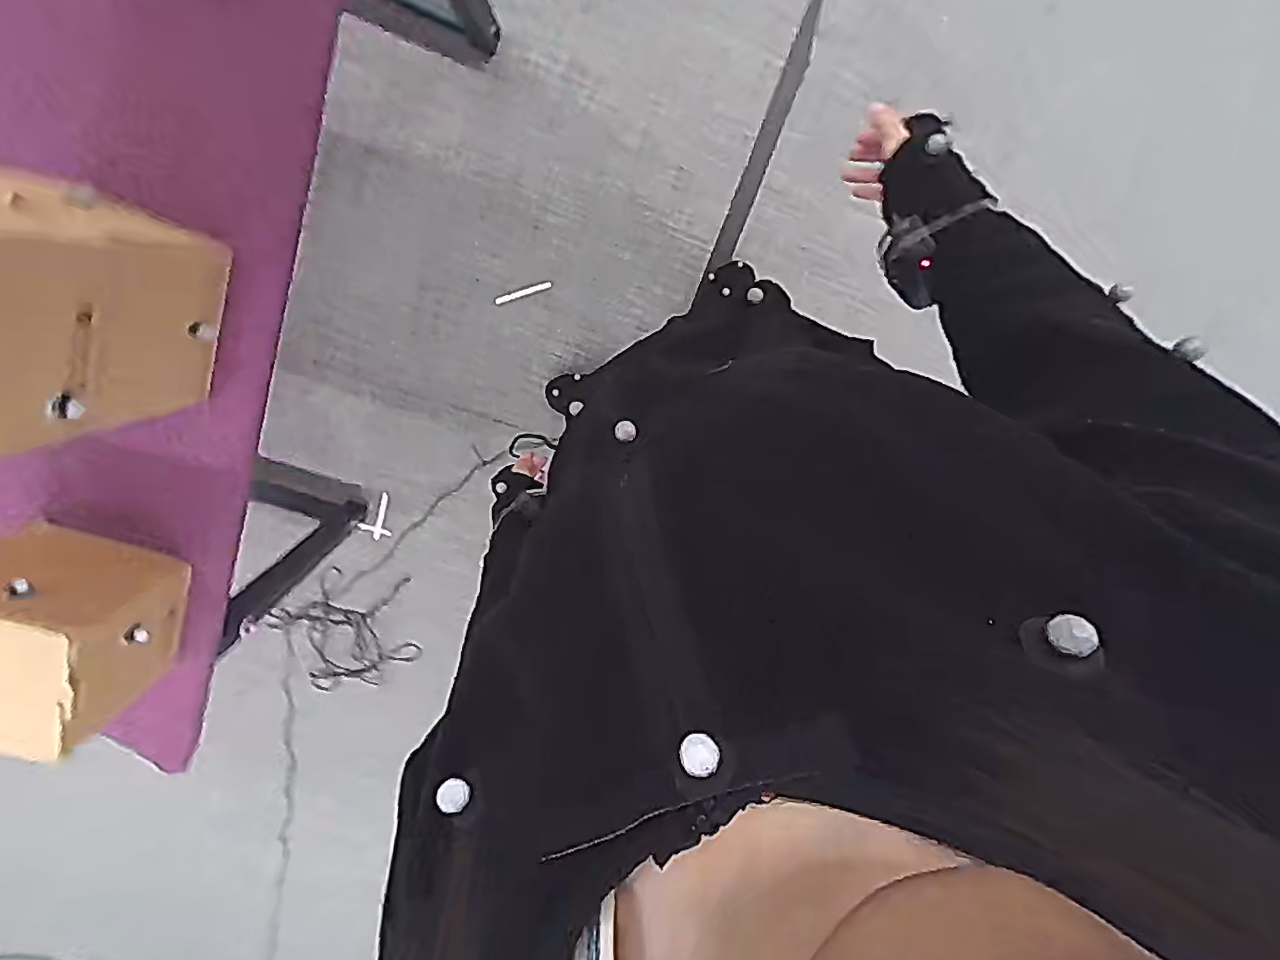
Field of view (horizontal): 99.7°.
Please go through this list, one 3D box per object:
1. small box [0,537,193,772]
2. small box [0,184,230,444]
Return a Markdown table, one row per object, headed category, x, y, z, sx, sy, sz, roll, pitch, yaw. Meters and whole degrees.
| category | x | y | z | sx | sy | sz | roll | pitch | yaw |
| --- | --- | --- | --- | --- | --- | --- | --- | --- | --- |
| small box | -0.658 | 0.184 | 0.609 | 0.179 | 0.176 | 0.168 | 19 | 105 | -9 |
| small box | -0.525 | -0.159 | 0.502 | 0.168 | 0.176 | 0.179 | 19 | 106 | -11 |
